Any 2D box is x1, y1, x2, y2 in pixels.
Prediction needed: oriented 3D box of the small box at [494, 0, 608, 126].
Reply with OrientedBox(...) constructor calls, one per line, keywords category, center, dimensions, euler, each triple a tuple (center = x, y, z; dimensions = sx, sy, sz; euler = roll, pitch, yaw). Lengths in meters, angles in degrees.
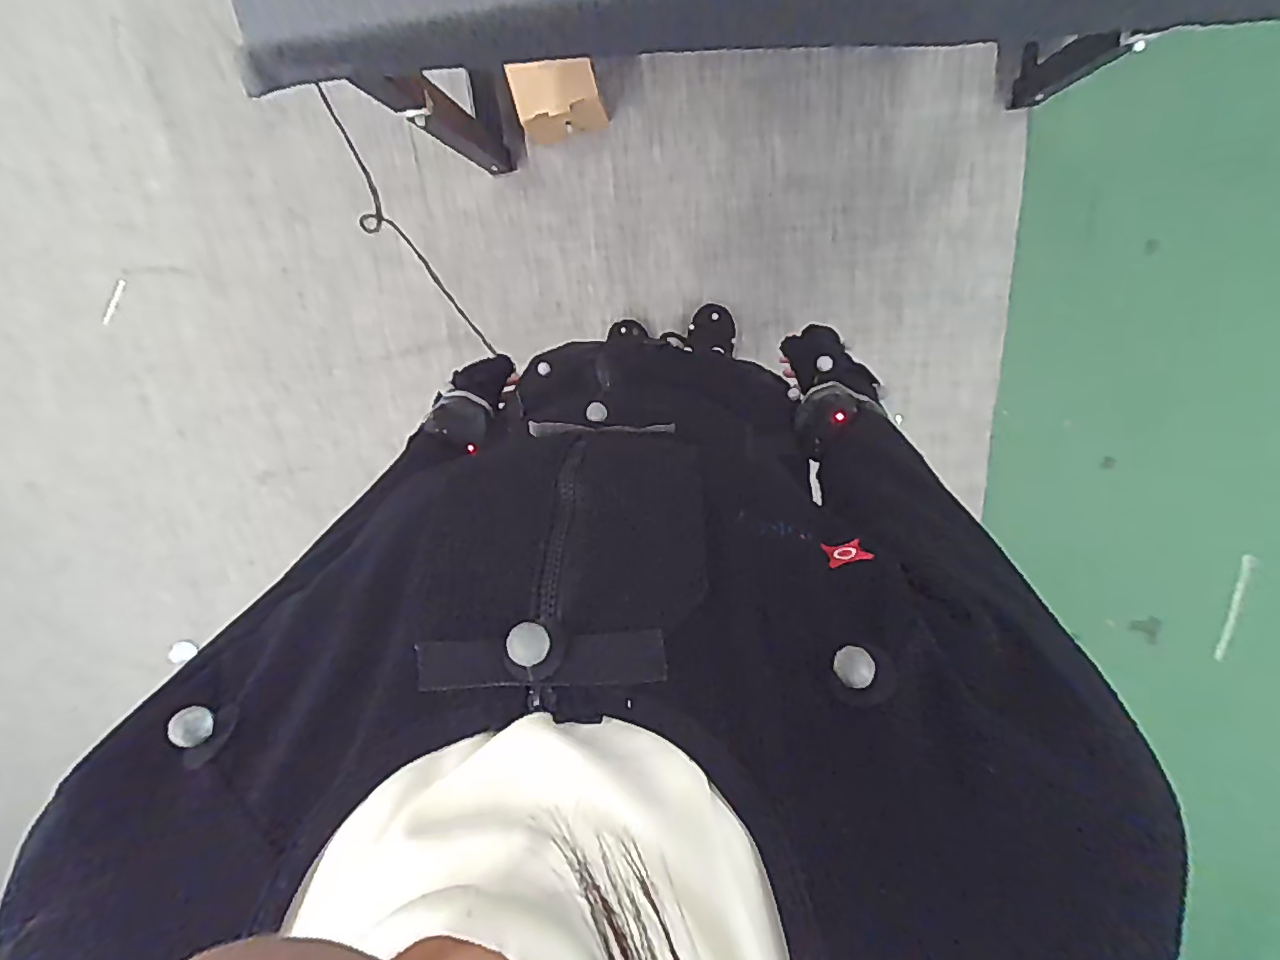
OrientedBox(category="small box", center=(-0.171, -0.852, 1.105), dimensions=(0.168, 0.176, 0.179), euler=(-12, 108, 8))
